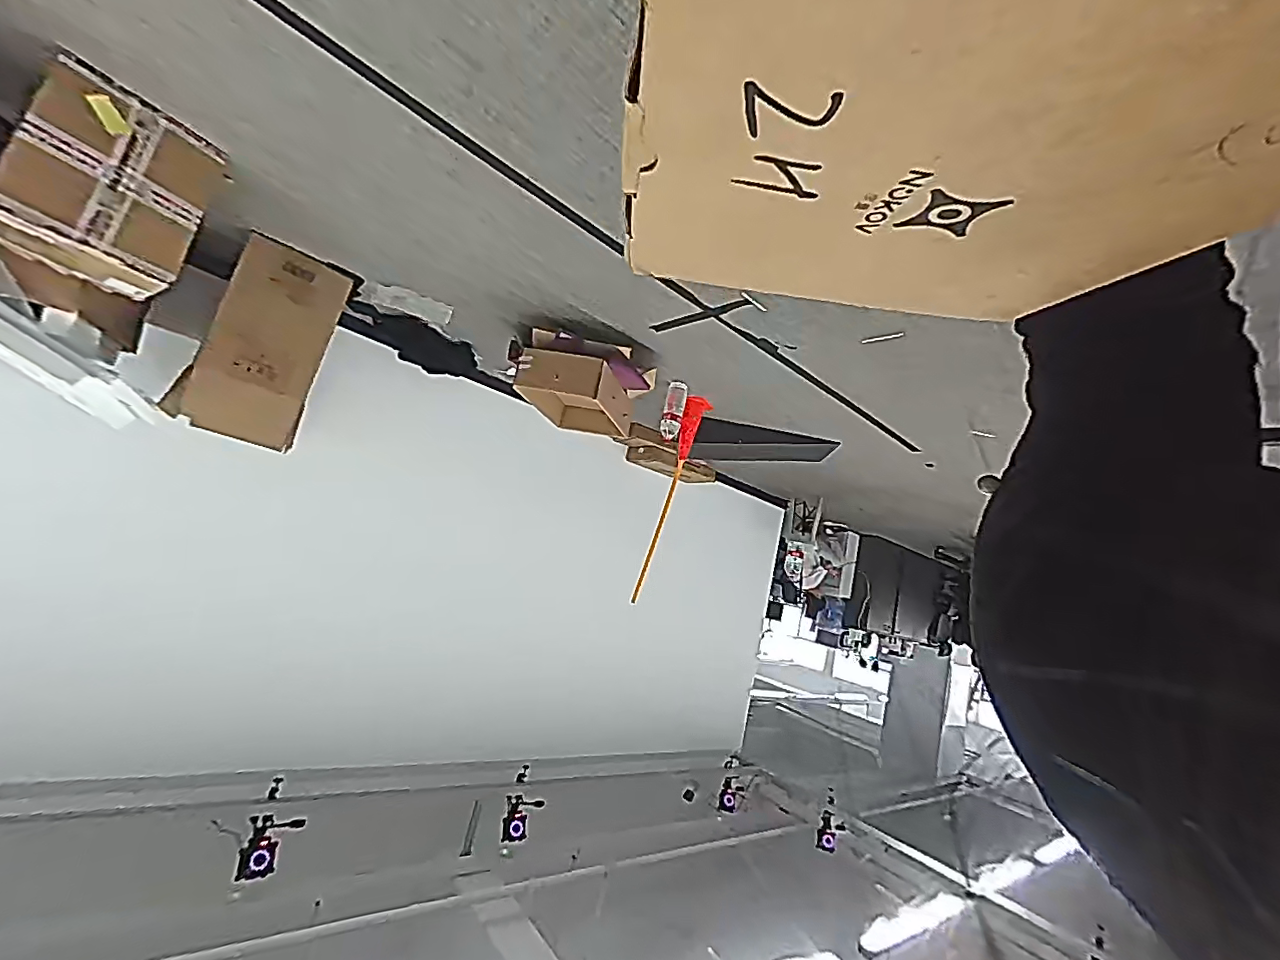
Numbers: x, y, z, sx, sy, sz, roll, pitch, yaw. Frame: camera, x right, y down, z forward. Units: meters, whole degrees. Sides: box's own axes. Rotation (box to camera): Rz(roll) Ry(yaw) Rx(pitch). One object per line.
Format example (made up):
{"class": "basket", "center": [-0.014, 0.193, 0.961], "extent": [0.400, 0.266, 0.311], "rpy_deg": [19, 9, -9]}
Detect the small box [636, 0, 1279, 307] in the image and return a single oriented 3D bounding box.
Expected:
{"class": "small box", "center": [0.099, -0.169, 0.162], "extent": [0.179, 0.176, 0.168], "rpy_deg": [8, 180, -3]}
